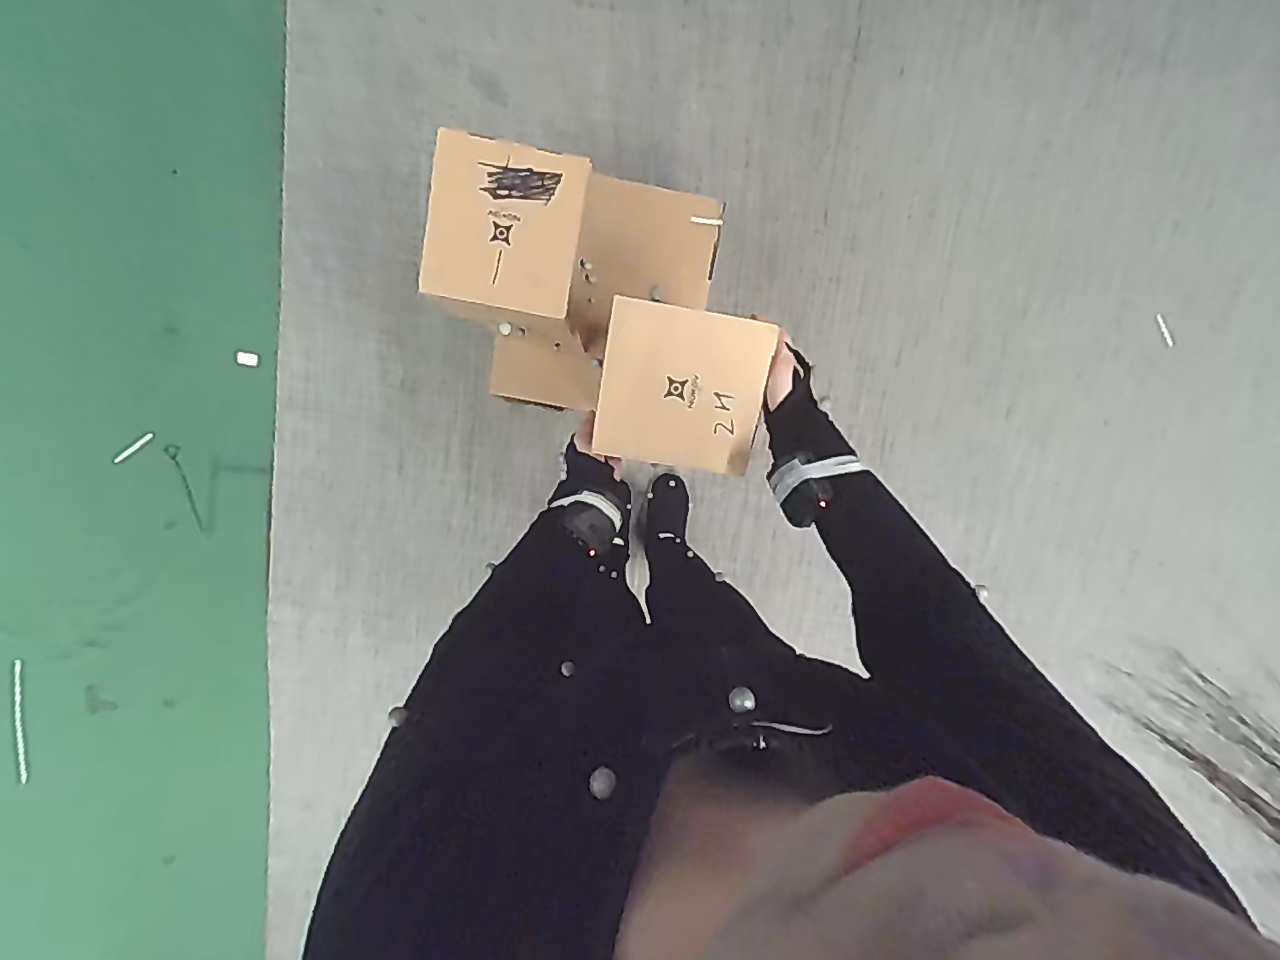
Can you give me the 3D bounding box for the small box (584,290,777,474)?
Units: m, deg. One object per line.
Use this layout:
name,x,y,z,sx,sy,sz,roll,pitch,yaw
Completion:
small box,0.037,-0.119,0.634,0.179,0.176,0.168,9,107,-5

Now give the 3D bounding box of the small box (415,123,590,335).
small box,-0.156,-0.291,0.668,0.168,0.176,0.179,10,97,-4

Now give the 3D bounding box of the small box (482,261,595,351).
small box,-0.176,-0.343,0.990,0.168,0.176,0.179,10,96,-4

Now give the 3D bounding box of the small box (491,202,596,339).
small box,-0.163,-0.325,0.828,0.168,0.176,0.179,10,98,-4
